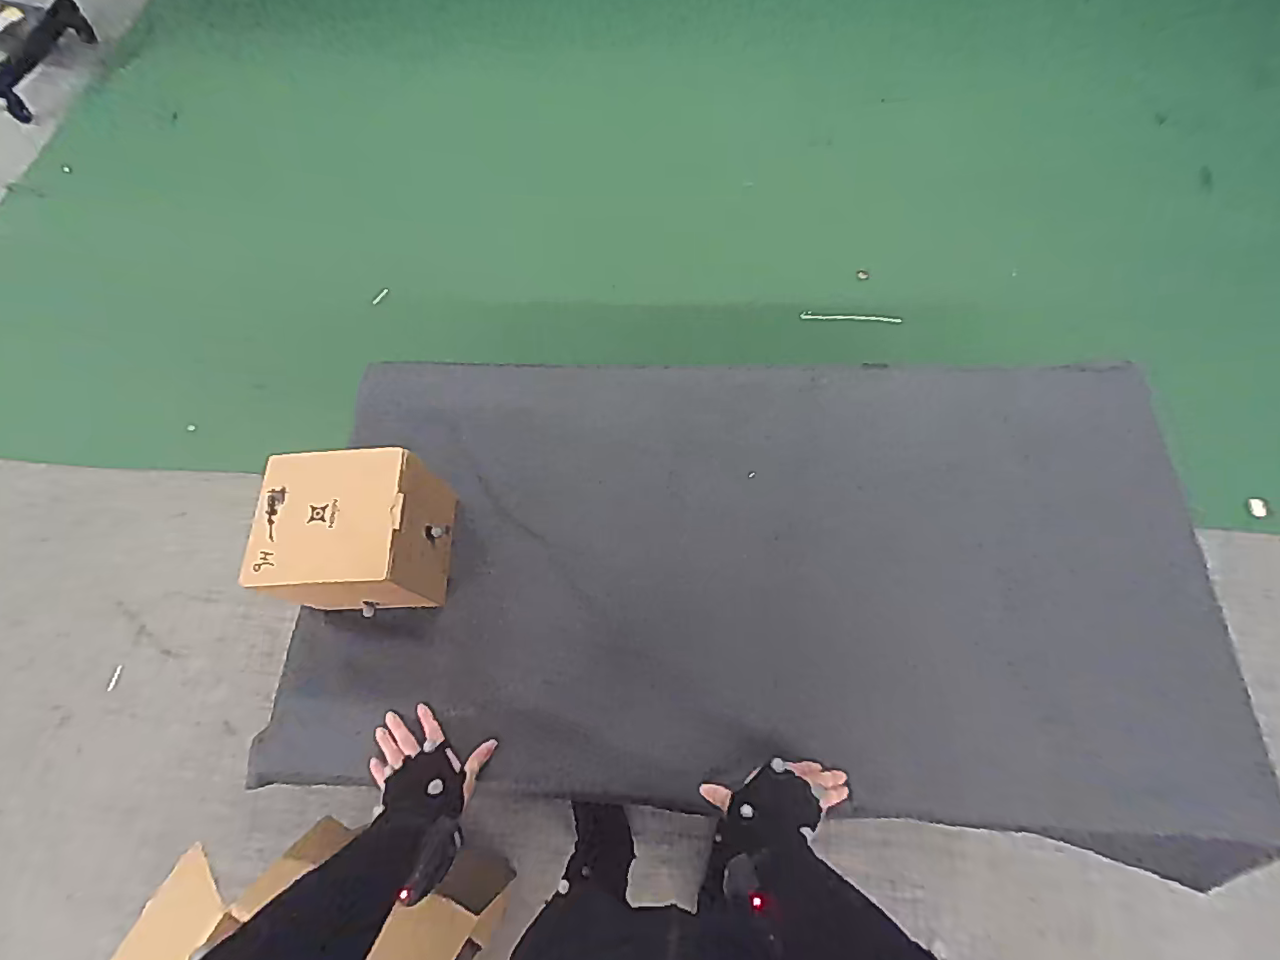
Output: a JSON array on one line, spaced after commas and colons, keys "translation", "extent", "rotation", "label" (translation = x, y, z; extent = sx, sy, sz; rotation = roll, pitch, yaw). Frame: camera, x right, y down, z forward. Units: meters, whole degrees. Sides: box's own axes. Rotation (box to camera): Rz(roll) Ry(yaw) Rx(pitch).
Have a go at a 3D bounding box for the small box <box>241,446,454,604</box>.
[{"translation": [-0.361, 0.066, 0.707], "extent": [0.179, 0.176, 0.168], "rotation": [-3, 67, 2], "label": "small box"}]
